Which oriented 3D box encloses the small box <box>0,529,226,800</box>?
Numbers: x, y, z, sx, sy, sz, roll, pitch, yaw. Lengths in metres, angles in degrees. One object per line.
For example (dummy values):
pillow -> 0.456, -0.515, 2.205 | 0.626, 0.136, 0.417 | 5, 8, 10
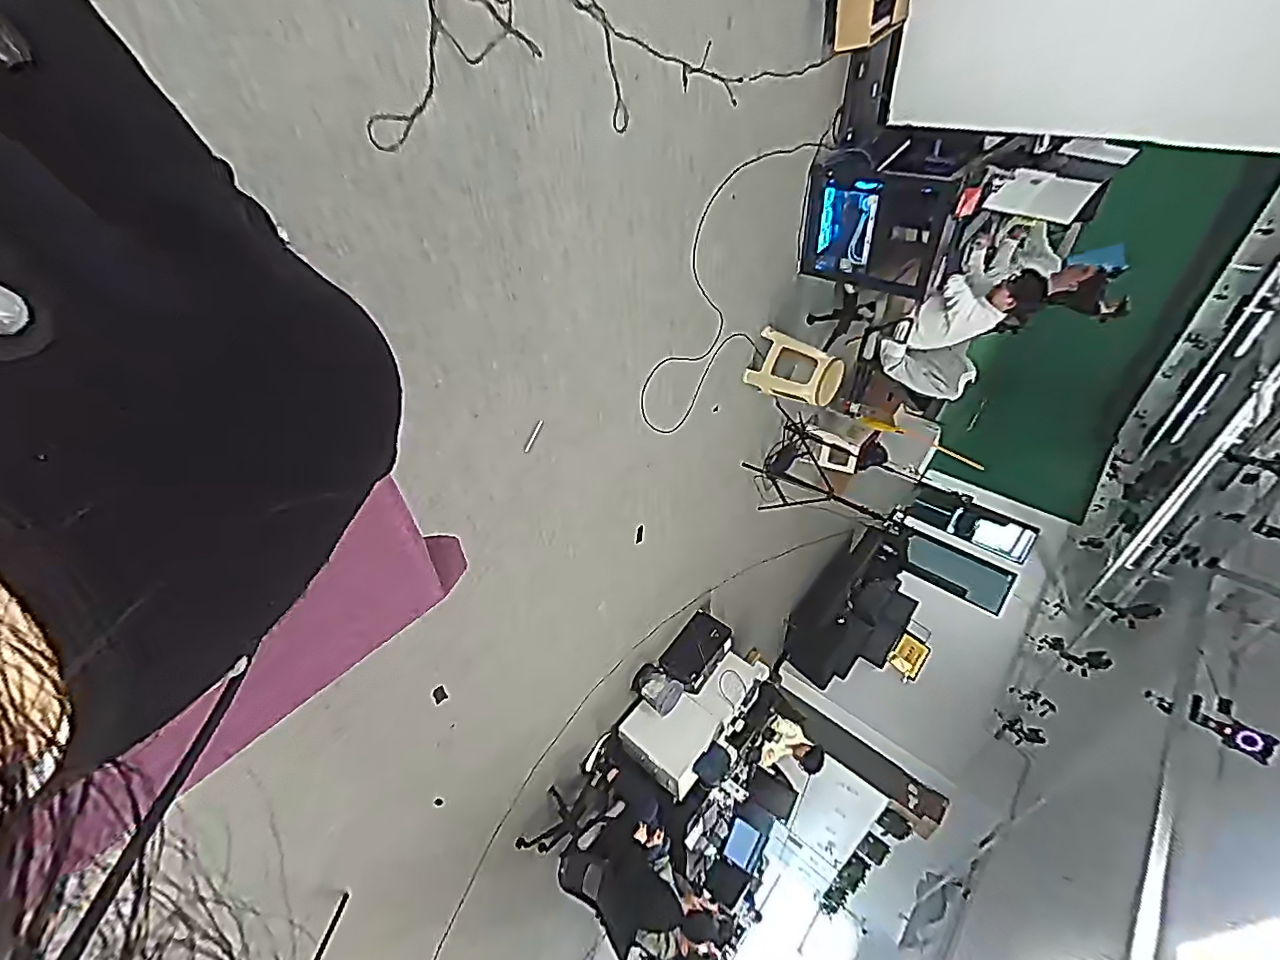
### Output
small box -> -0.605, 0.187, 0.583 | 0.179, 0.176, 0.168 | -37, 141, -35
